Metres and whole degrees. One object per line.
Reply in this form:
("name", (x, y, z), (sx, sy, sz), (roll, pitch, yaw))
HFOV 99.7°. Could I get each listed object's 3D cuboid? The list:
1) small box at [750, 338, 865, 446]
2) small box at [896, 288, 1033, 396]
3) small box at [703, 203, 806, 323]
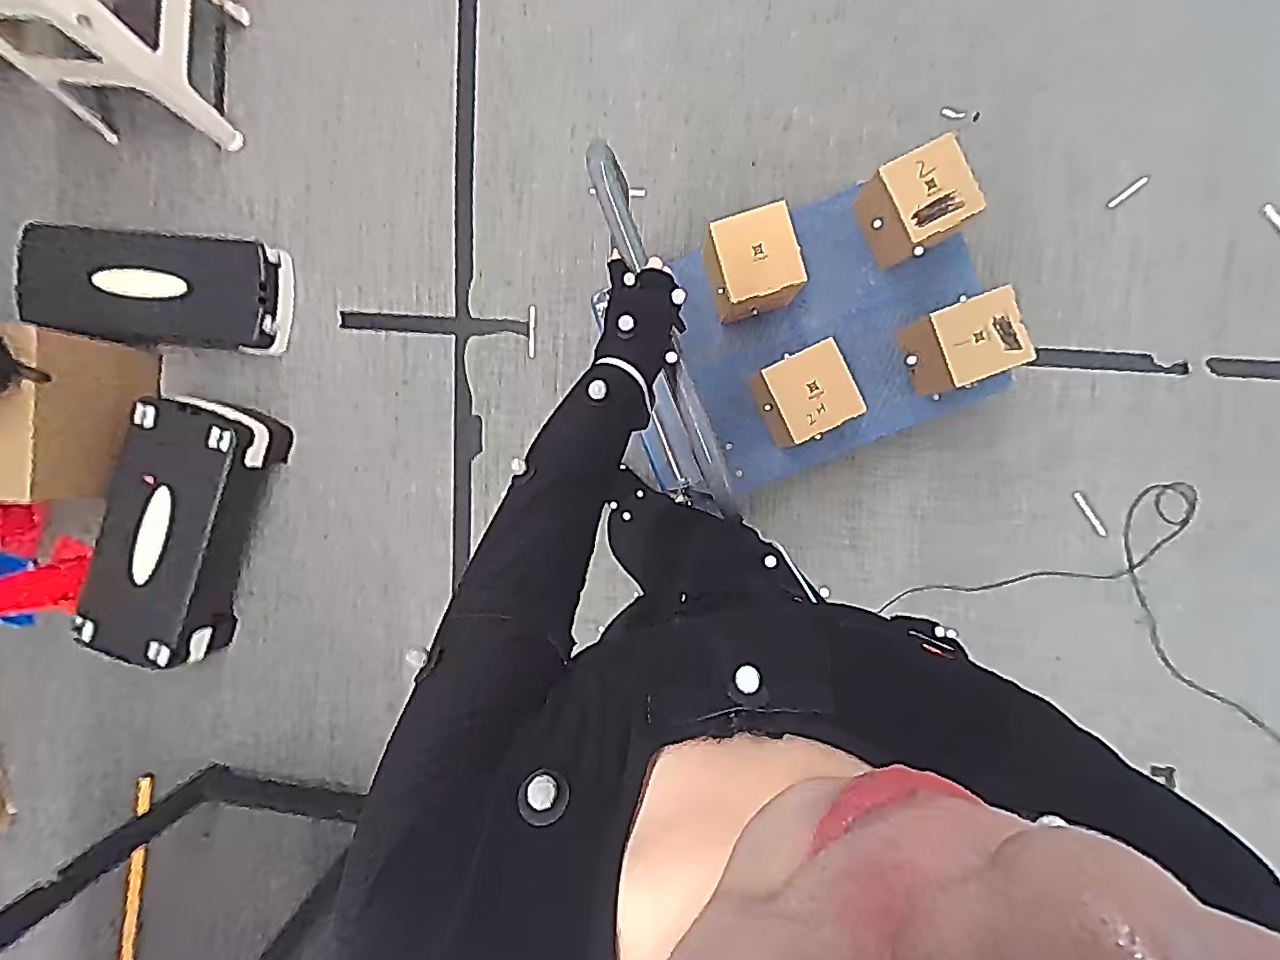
("small box", (0.362, -0.186, 1.206), (0.168, 0.176, 0.179), (-25, 91, 2))
("small box", (0.706, -0.296, 1.194), (0.179, 0.176, 0.168), (-20, 91, 3))
("small box", (0.245, -0.473, 1.202), (0.168, 0.176, 0.179), (-17, 93, 1))
